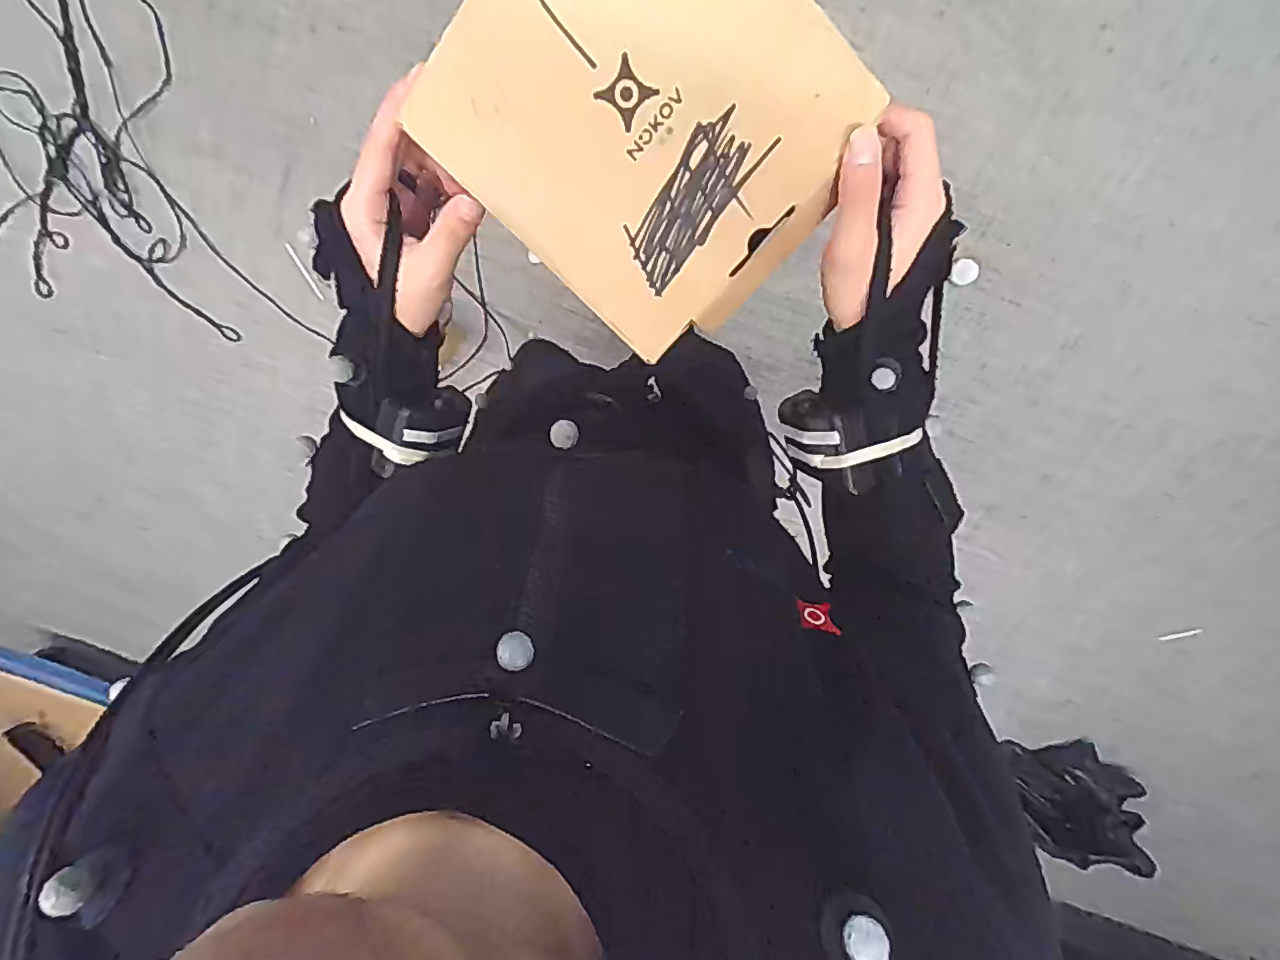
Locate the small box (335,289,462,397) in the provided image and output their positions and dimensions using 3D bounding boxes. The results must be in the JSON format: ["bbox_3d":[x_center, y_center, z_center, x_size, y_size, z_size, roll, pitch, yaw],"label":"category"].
[{"bbox_3d":[-0.543,-0.323,1.243,0.179,0.176,0.168,41,109,-9],"label":"small box"}]
